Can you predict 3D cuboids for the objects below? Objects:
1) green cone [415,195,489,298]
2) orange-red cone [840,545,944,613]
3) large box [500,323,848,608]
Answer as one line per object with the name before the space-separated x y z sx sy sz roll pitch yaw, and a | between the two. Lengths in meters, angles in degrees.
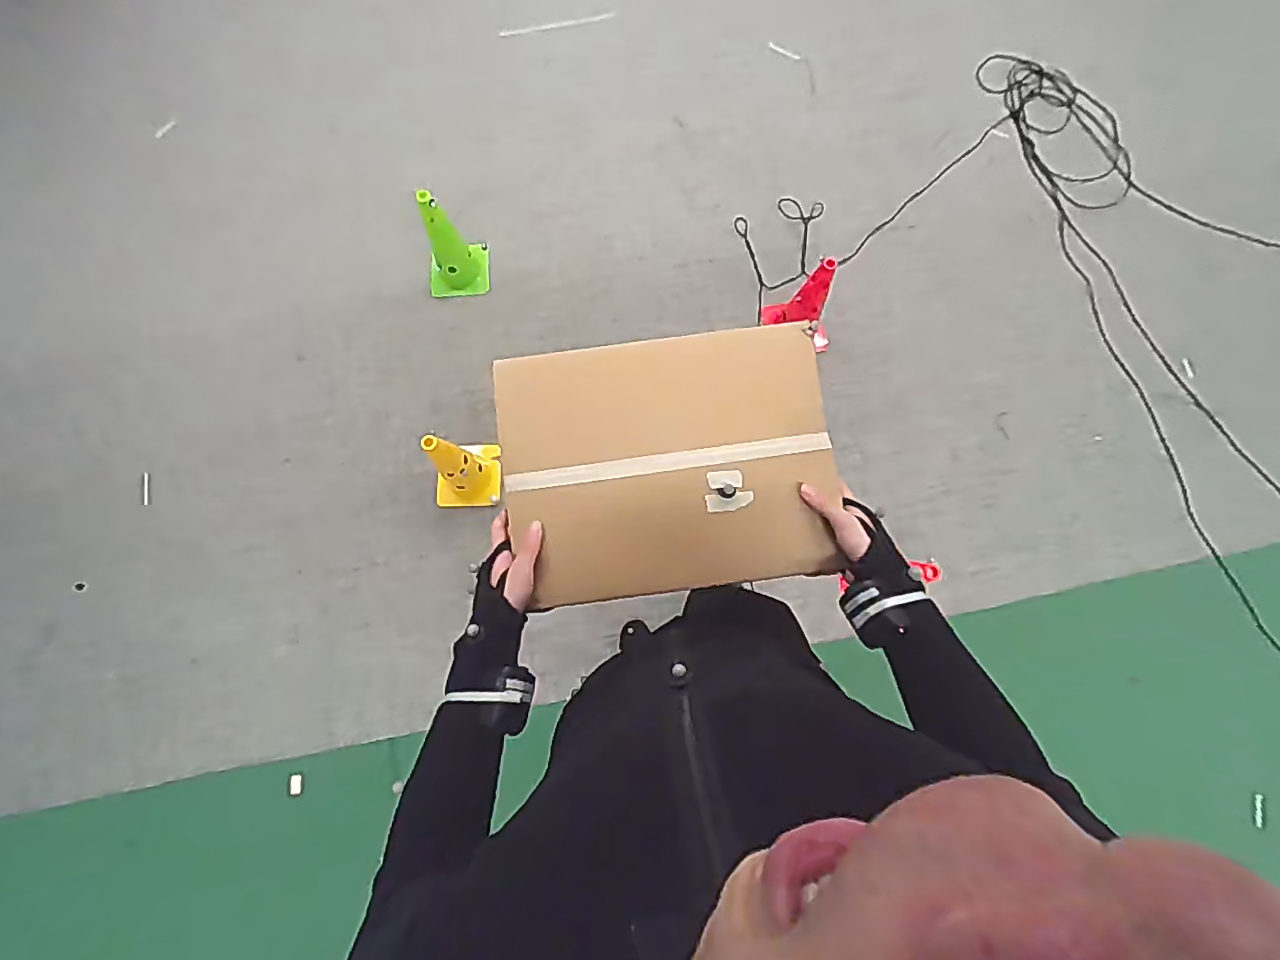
green cone | -0.635 -0.772 1.732 0.200 0.368 0.202 -6 78 -1
orange-red cone | 0.720 0.263 1.483 0.199 0.360 0.198 -4 77 -3
large box | 0.037 -0.005 0.821 0.408 0.320 0.320 -8 84 -1
